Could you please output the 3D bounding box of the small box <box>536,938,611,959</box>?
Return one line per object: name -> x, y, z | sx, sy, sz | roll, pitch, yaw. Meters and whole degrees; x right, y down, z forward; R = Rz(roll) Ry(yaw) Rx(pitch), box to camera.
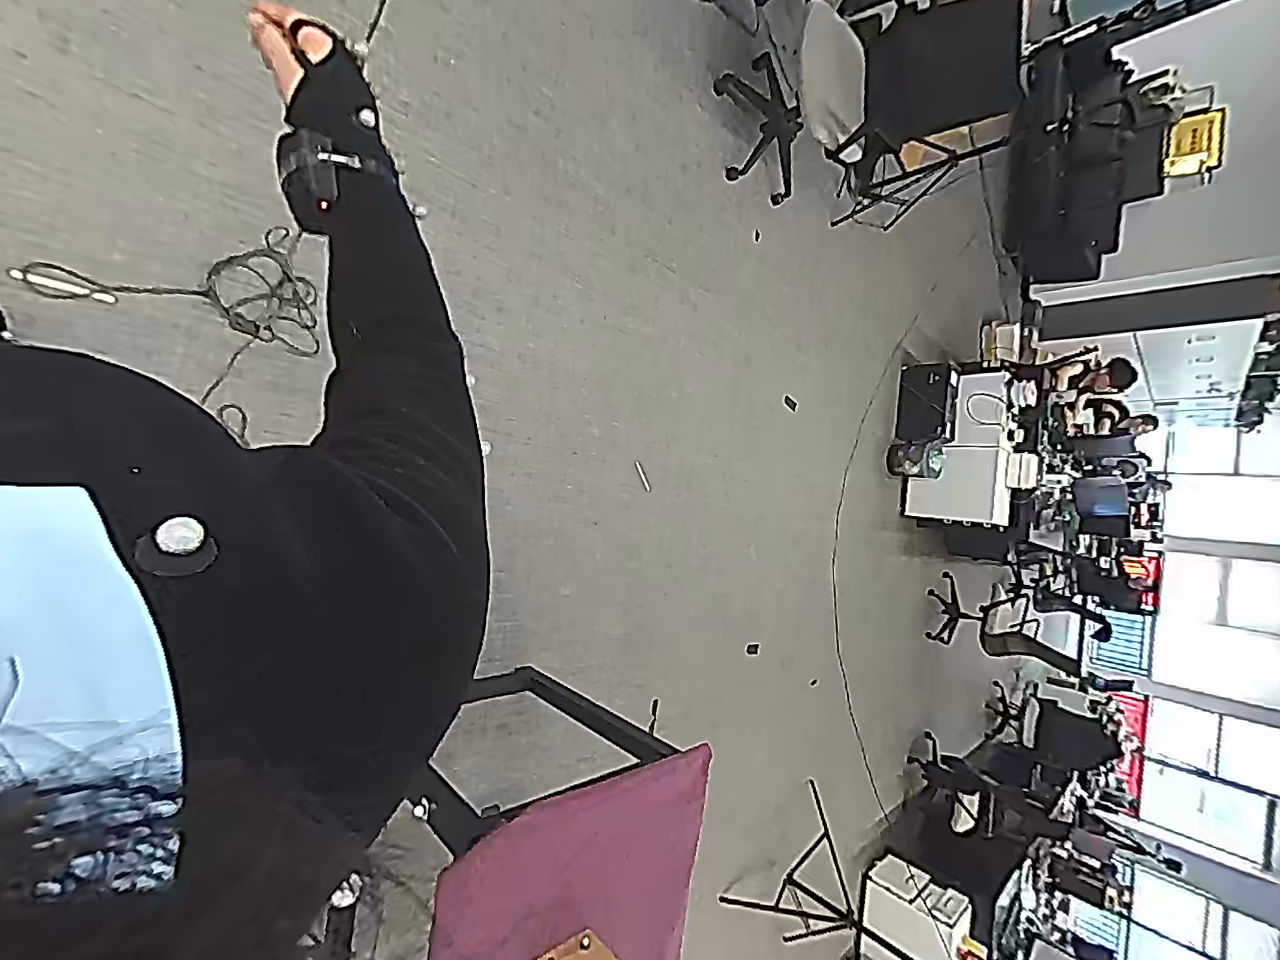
small box -> -0.124, 0.981, 0.970 | 0.168, 0.176, 0.179 | 10, 87, -44
